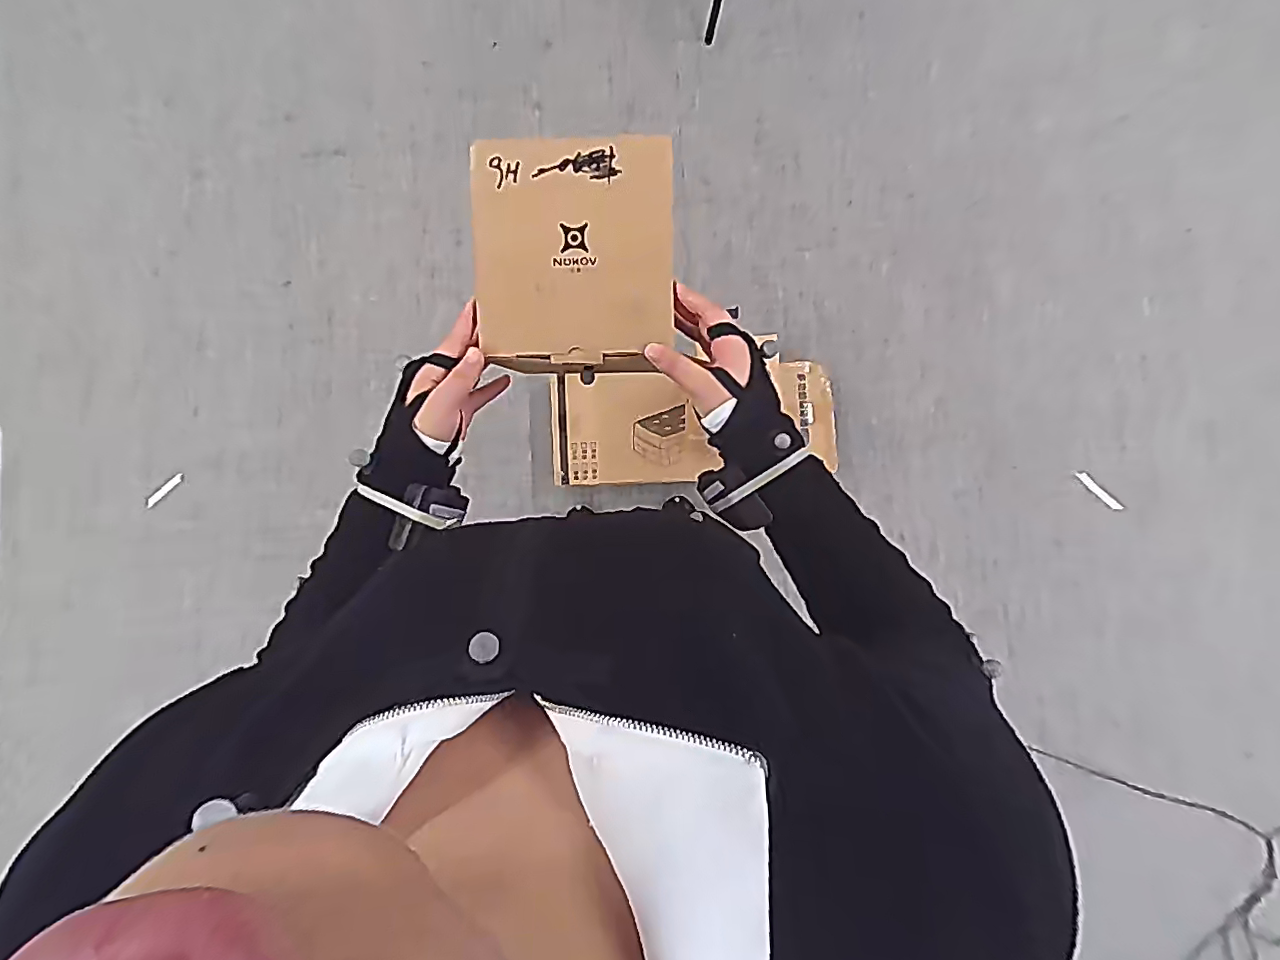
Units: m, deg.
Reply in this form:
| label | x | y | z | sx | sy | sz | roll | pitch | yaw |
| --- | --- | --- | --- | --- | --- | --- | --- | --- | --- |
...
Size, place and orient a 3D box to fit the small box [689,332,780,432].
| label | x | y | z | sx | sy | sz | roll | pitch | yaw |
| --- | --- | --- | --- | --- | --- | --- | --- | --- | --- |
| small box | 0.197 | -0.205 | 1.168 | 0.168 | 0.176 | 0.179 | -3 | 87 | 1 |

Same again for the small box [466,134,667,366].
| label | x | y | z | sx | sy | sz | roll | pitch | yaw |
| --- | --- | --- | --- | --- | --- | --- | --- | --- | --- |
| small box | -0.057 | -0.202 | 0.526 | 0.168 | 0.176 | 0.179 | -1 | 98 | 1 |

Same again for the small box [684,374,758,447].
| label | x | y | z | sx | sy | sz | roll | pitch | yaw |
| --- | --- | --- | --- | --- | --- | --- | --- | --- | --- |
| small box | 0.195 | -0.181 | 1.332 | 0.168 | 0.176 | 0.179 | 1 | 88 | 1 |
